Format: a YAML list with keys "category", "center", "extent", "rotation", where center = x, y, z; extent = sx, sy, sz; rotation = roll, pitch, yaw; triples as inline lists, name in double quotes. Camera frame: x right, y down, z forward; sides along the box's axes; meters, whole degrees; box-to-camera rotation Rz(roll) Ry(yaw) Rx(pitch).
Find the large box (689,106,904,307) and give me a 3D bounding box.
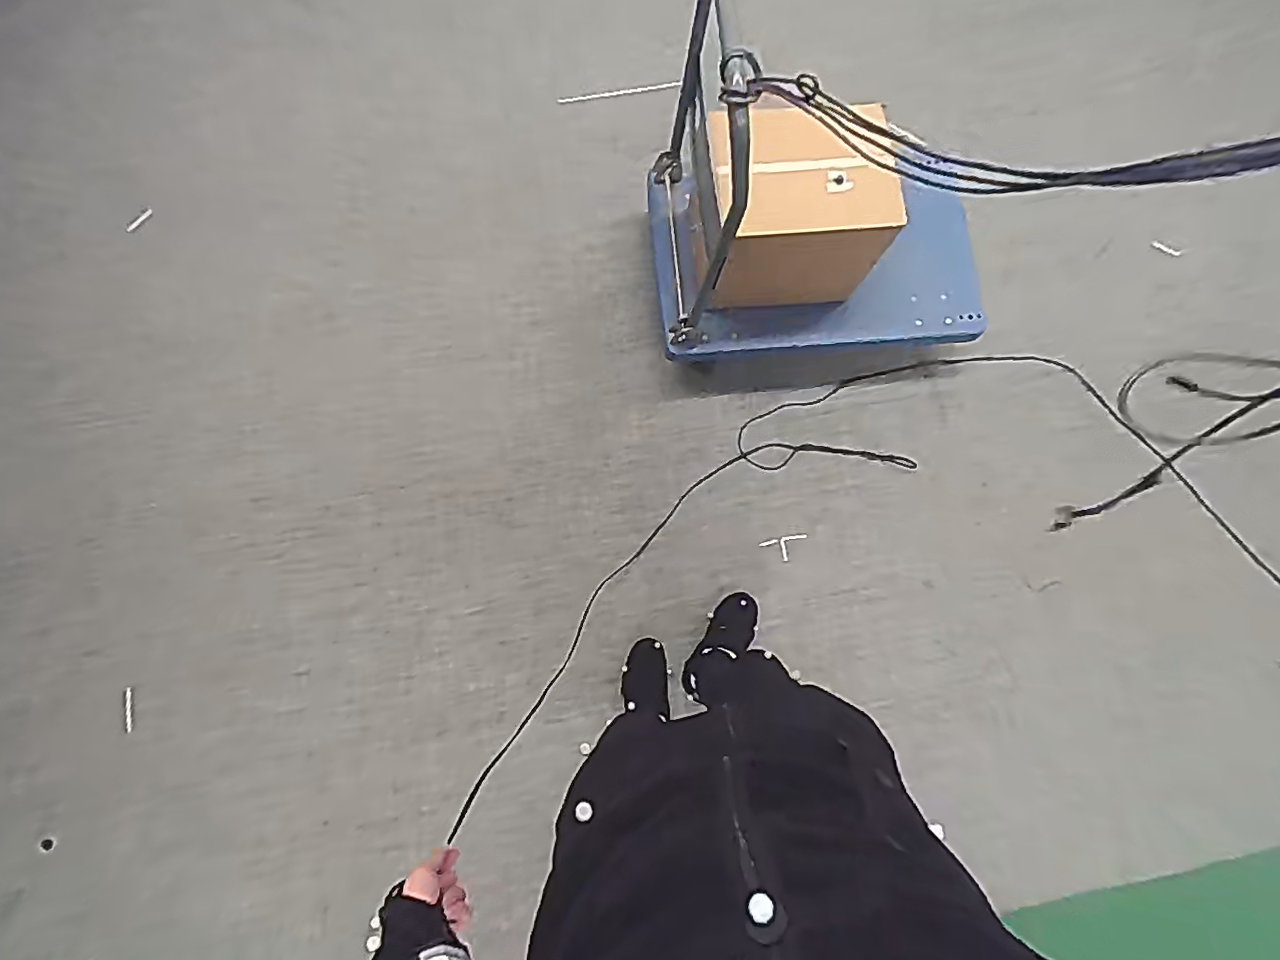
- category: "large box"
  center: [0.351, -0.650, 1.324]
  extent: [0.408, 0.320, 0.320]
  rotation: [-4, 79, -3]
